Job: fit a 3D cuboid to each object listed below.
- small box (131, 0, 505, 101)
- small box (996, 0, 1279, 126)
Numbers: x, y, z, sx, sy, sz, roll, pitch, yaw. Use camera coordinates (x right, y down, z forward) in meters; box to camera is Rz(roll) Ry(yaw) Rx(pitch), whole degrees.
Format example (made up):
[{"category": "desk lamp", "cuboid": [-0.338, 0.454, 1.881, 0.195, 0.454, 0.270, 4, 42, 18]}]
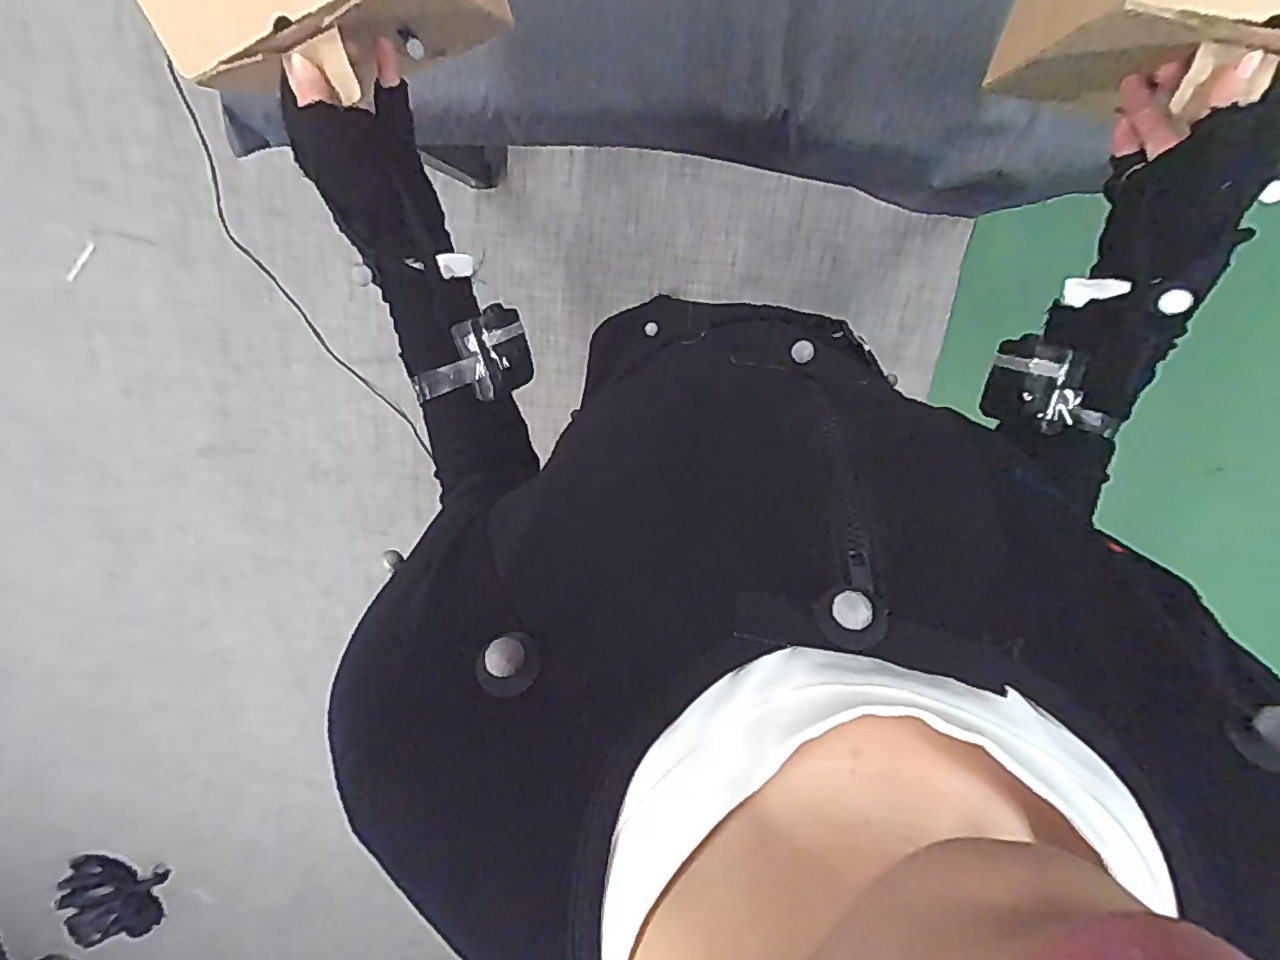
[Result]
[{"category": "small box", "cuboid": [-0.211, -0.363, 0.337, 0.168, 0.176, 0.179, -11, 117, 17]}, {"category": "small box", "cuboid": [0.365, -0.346, 0.336, 0.168, 0.176, 0.179, 12, 114, 1]}]
